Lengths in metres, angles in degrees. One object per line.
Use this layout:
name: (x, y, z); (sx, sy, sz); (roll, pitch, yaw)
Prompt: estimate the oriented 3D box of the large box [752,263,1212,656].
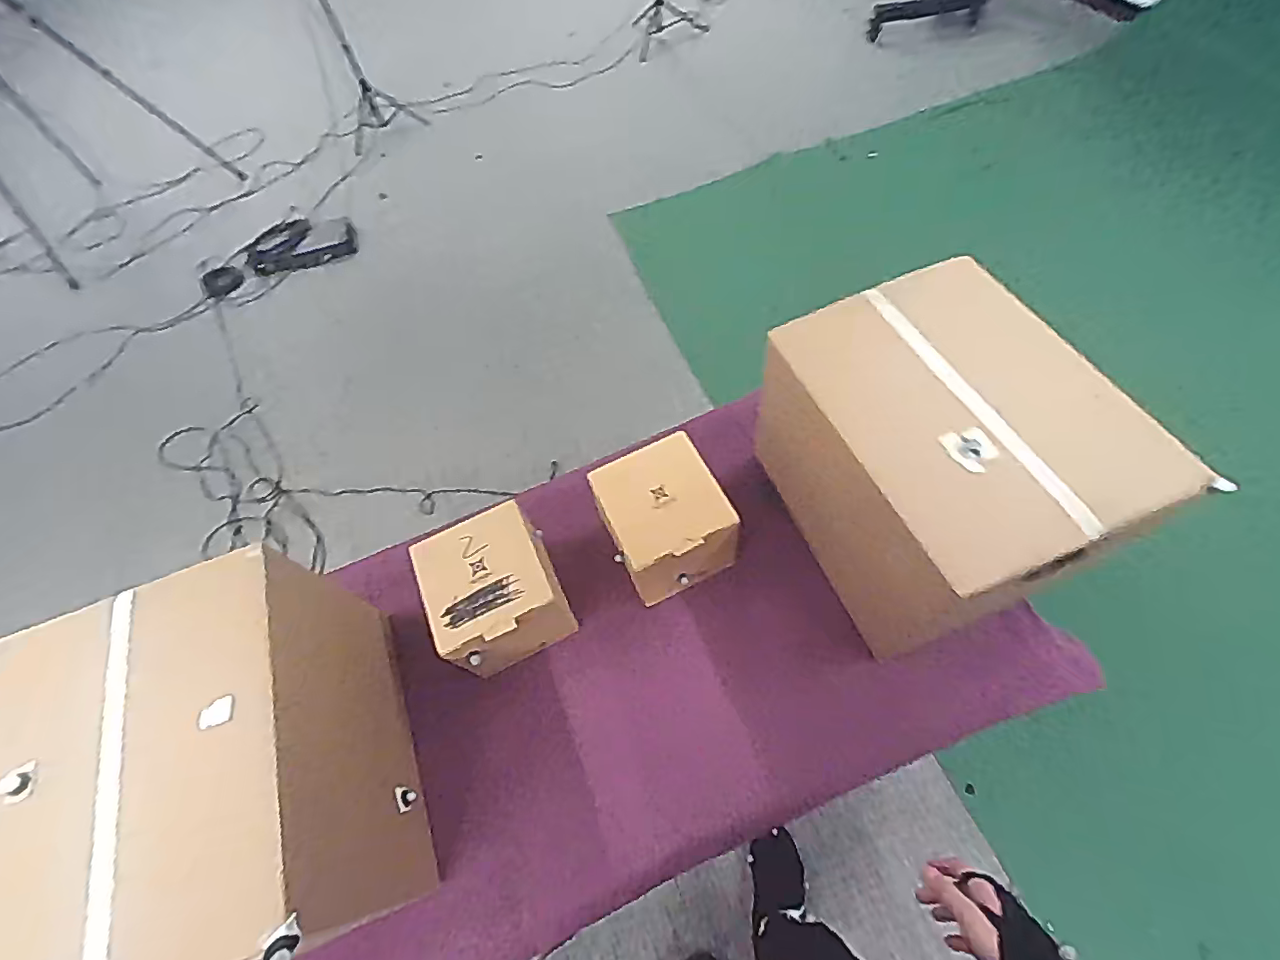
large box: (0.400, -0.022, 0.773); (0.320, 0.320, 0.408); (-23, 61, -5)
